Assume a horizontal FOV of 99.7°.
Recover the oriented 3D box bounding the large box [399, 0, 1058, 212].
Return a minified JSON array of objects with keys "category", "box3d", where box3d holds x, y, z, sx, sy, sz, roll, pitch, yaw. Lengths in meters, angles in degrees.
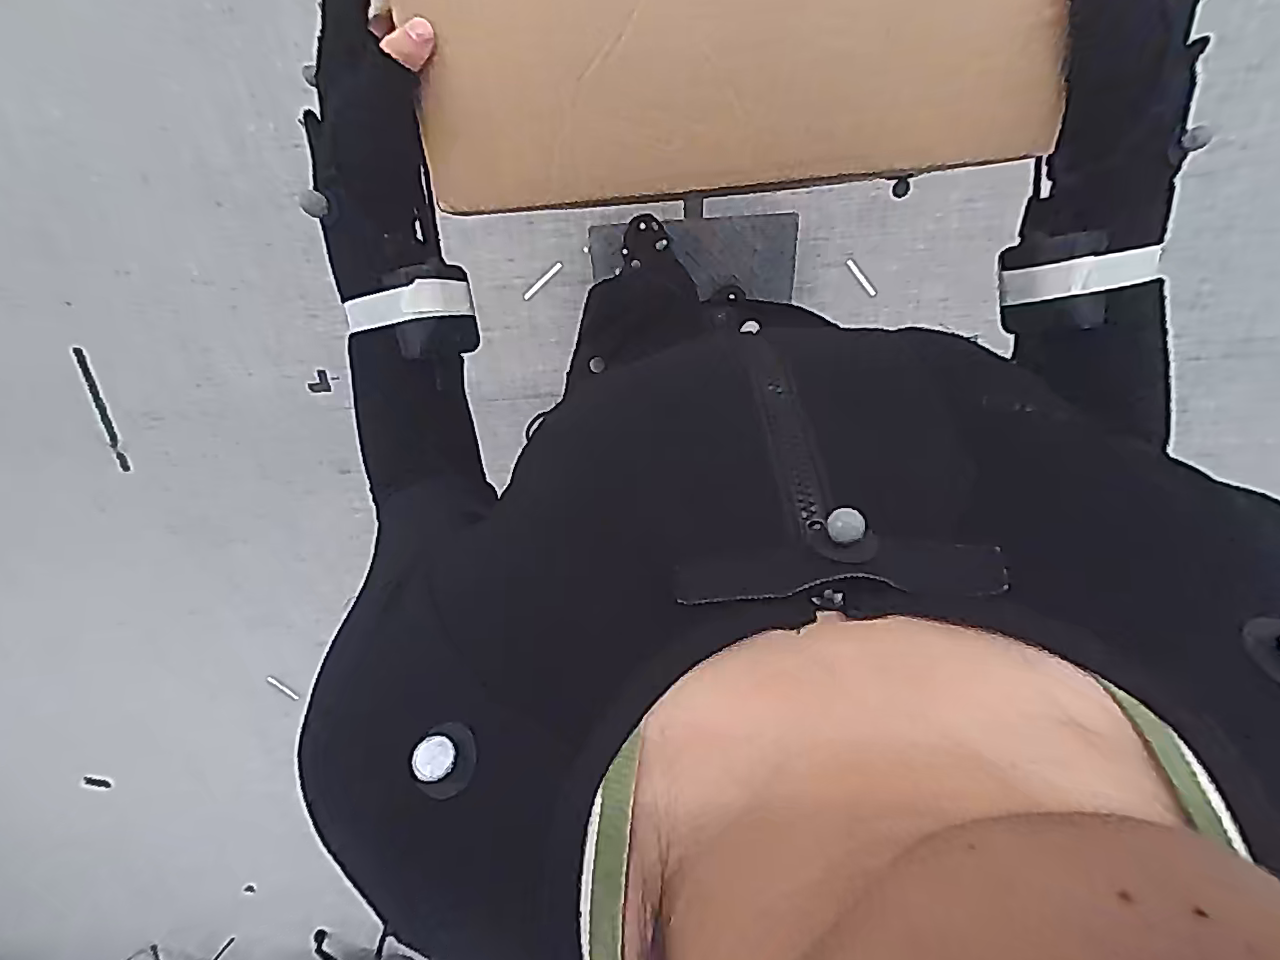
[{"category":"large box","box3d":[0.050,-0.408,0.431,0.408,0.320,0.320,-4,117,3]}]
